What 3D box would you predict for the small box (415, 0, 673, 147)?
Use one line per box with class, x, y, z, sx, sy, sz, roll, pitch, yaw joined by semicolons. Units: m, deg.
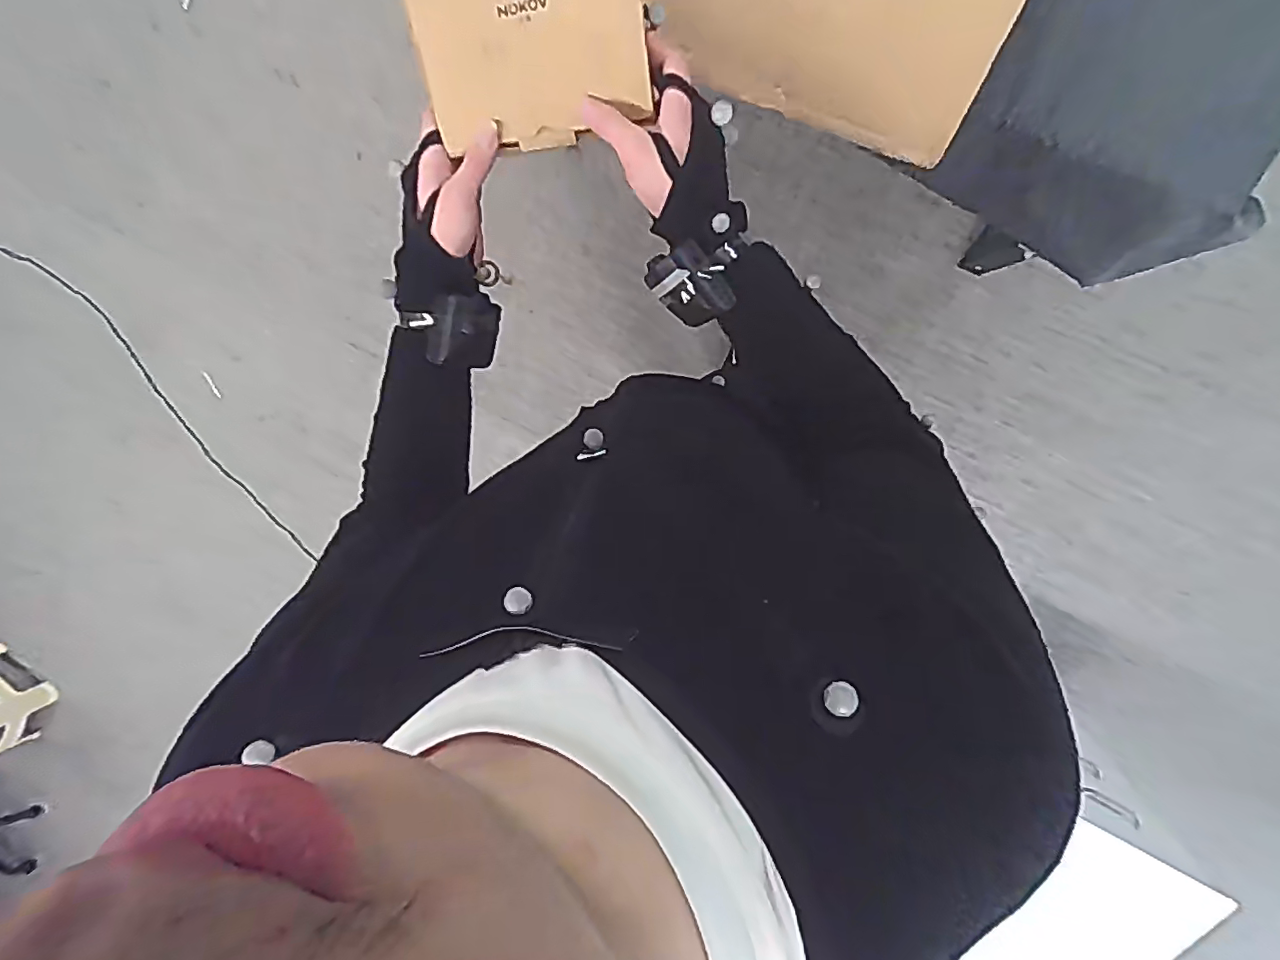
small box;-0.068;-0.384;0.434;0.168;0.176;0.179;-5;120;11
